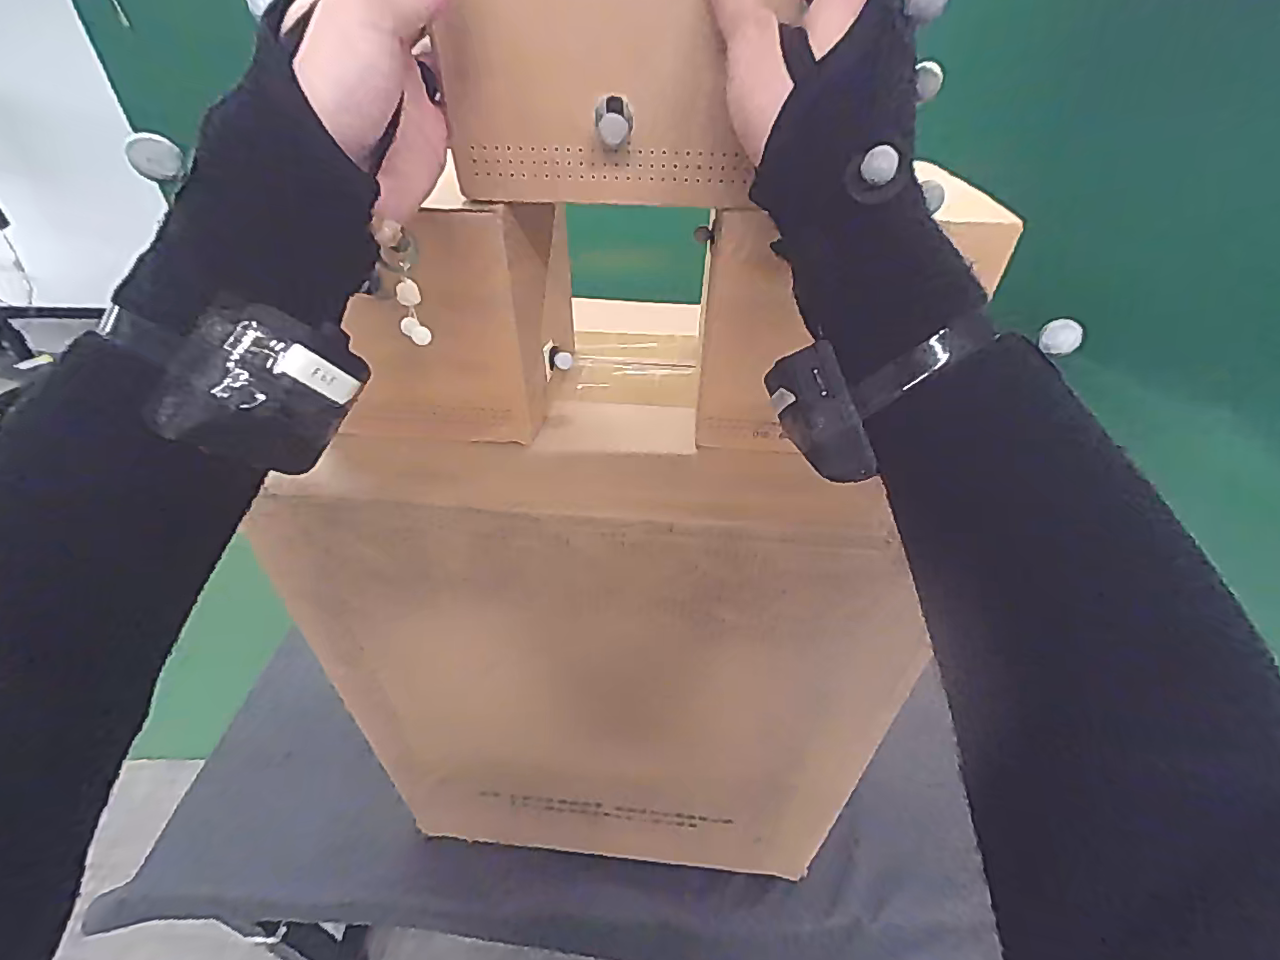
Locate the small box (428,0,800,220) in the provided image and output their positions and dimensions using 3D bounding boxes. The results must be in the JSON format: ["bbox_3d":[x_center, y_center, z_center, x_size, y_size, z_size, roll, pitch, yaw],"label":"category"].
[{"bbox_3d":[-0.010,-0.262,0.309,0.179,0.176,0.168,2,43,0],"label":"small box"}]

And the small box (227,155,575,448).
[{"bbox_3d":[-0.153,-0.140,0.424,0.179,0.176,0.168,5,42,2],"label":"small box"}]

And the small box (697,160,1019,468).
[{"bbox_3d":[0.134,-0.132,0.417,0.168,0.176,0.179,4,42,3],"label":"small box"}]
